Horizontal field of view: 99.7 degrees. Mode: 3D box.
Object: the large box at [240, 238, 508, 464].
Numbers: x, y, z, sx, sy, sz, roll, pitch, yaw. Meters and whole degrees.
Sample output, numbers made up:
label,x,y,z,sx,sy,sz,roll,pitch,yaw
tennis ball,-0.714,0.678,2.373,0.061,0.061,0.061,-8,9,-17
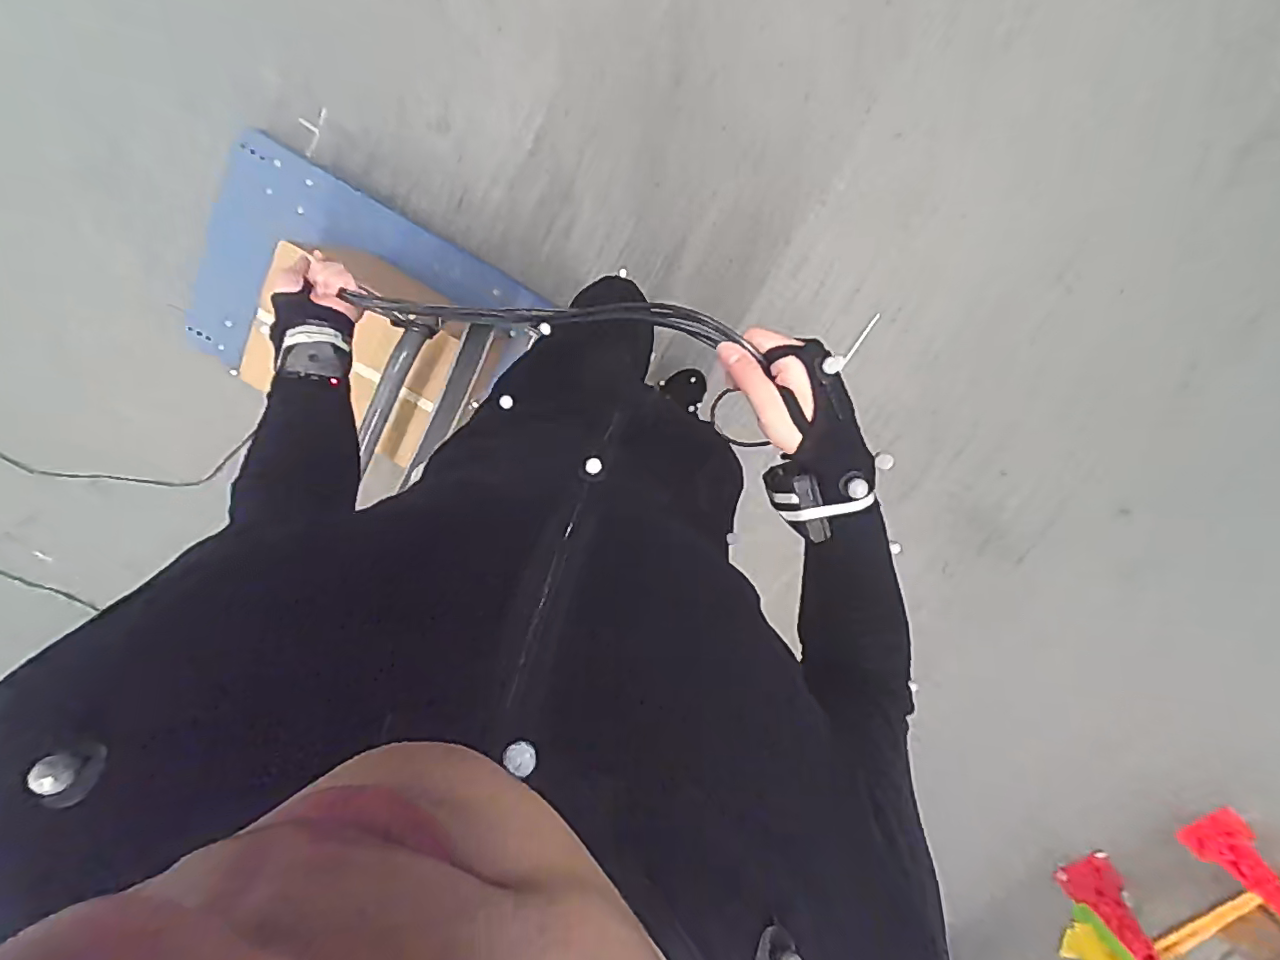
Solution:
label,x,y,z,sx,sy,sz,roll,pitch,yaw
large box,-0.578,-0.294,1.238,0.408,0.320,0.320,29,107,-5
